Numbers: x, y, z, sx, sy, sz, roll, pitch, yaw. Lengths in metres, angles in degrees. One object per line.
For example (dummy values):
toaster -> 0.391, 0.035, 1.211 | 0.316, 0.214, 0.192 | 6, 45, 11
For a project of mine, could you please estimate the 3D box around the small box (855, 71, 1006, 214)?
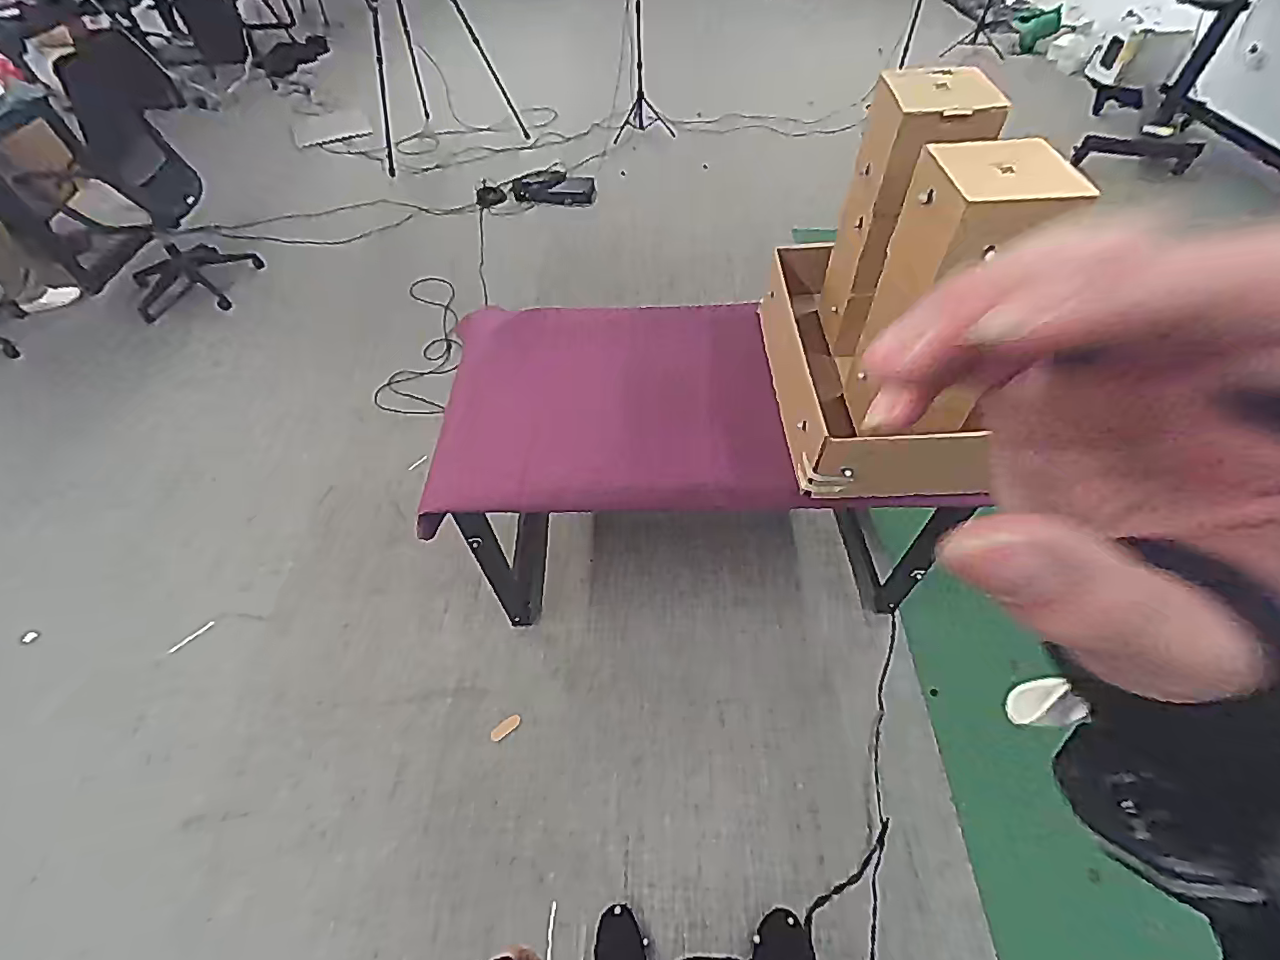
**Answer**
small box -> 0.499, -0.590, 0.959 | 0.168, 0.176, 0.179 | 0, 55, 3

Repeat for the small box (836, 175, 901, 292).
small box -> 0.509, -0.495, 1.092 | 0.168, 0.176, 0.179 | 0, 54, 3

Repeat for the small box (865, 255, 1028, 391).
small box -> 0.503, -0.265, 0.919 | 0.168, 0.176, 0.179 | -1, 51, 3

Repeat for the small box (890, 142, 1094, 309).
small box -> 0.494, -0.366, 0.793 | 0.168, 0.176, 0.179 | -2, 51, 3
